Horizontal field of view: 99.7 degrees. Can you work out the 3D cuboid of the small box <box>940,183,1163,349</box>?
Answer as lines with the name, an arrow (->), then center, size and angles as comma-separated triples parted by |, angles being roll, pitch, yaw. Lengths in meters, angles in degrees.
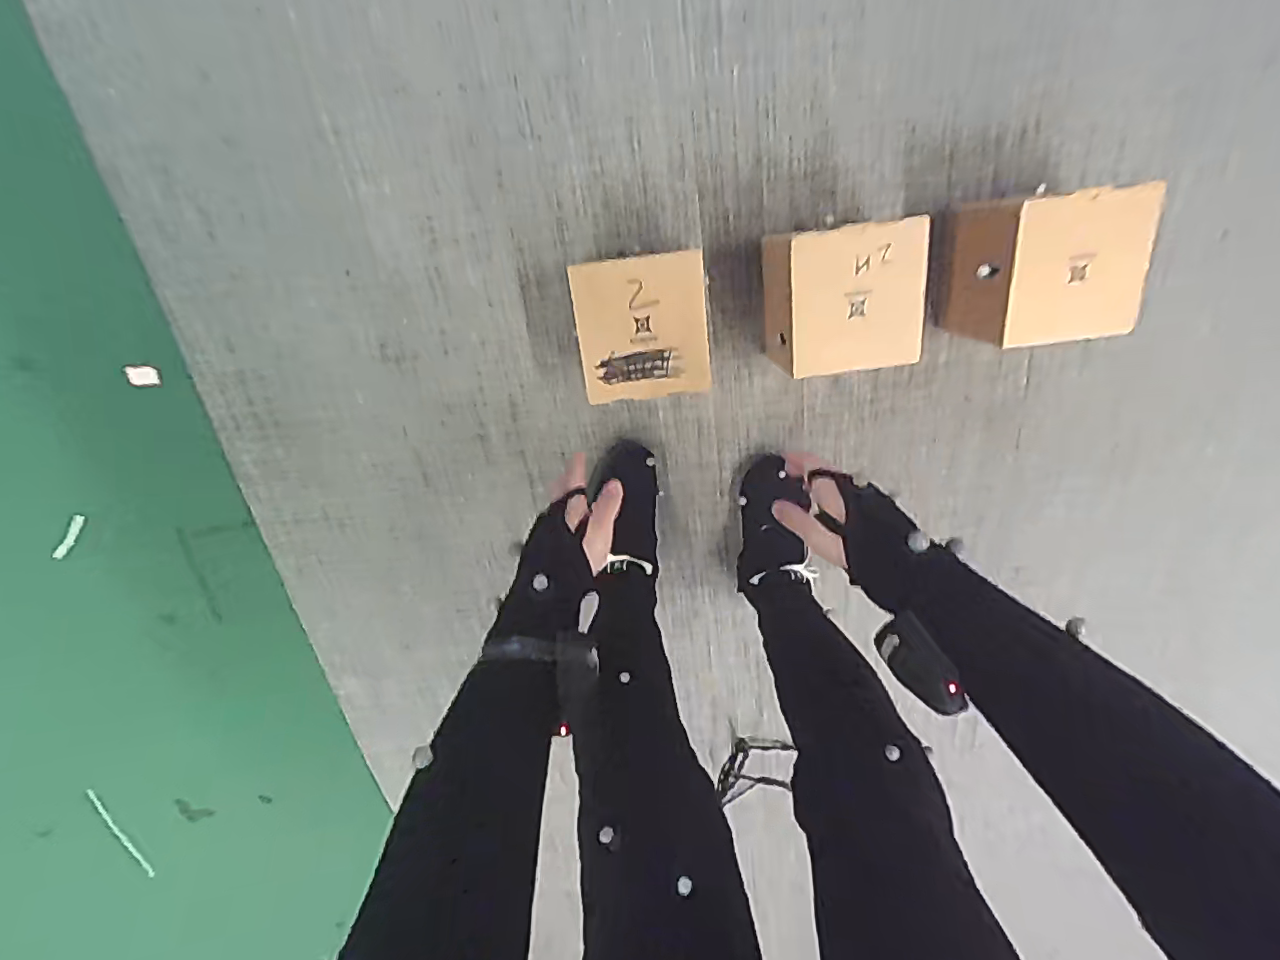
small box -> 0.534, -0.288, 0.734 | 0.168, 0.176, 0.179 | -7, 112, 2

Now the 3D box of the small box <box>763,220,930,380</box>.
small box -> 0.270, -0.250, 0.744 | 0.168, 0.176, 0.179 | -7, 112, 2
